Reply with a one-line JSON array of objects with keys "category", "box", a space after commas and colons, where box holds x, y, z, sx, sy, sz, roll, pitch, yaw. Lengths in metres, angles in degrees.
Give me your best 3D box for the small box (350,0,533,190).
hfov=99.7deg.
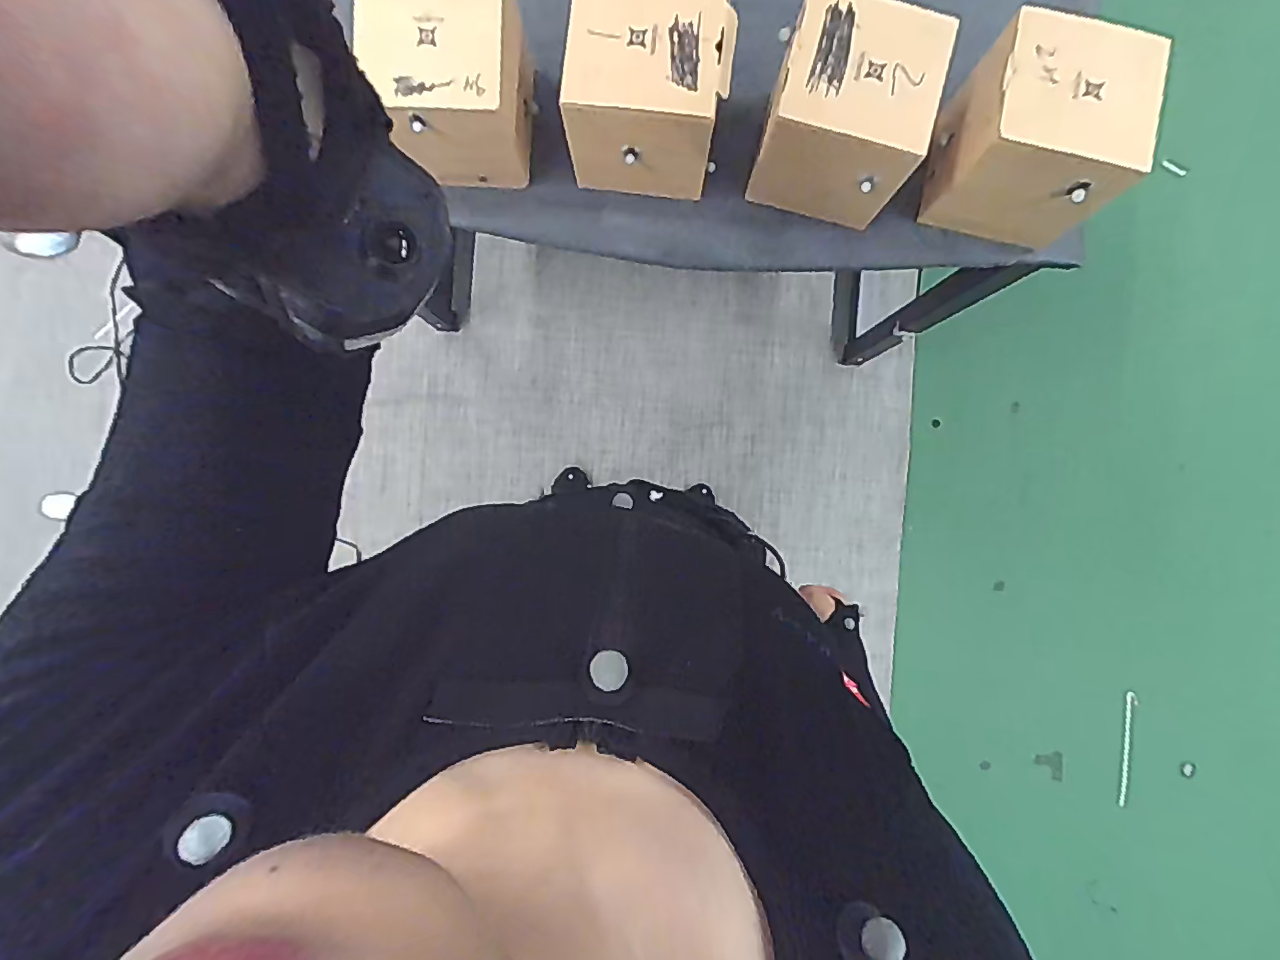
[{"category": "small box", "box": [-0.234, -0.499, 0.679, 0.168, 0.176, 0.179, 3, 90, 1]}]
